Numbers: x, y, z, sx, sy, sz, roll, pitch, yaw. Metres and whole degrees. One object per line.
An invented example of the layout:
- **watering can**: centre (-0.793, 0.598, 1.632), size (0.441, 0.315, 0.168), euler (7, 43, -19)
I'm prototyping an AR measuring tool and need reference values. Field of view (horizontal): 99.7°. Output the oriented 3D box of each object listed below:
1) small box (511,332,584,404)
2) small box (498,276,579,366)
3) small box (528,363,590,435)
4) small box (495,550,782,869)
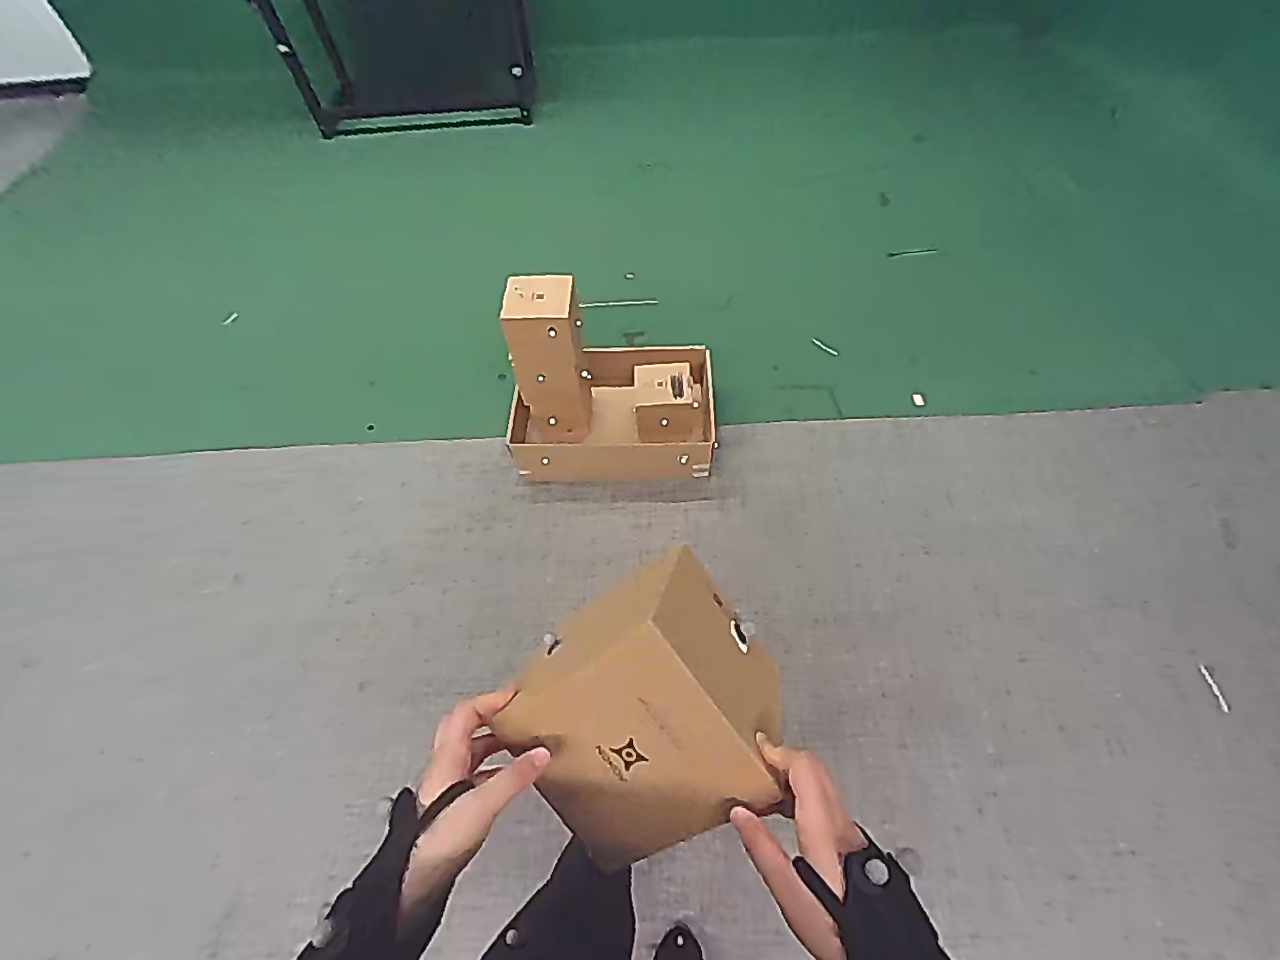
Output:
- **small box**: centre (-0.265, -0.335, 1.586), size (0.179, 0.176, 0.168), euler (0, 59, 1)
- **small box**: centre (-0.261, -0.421, 1.445), size (0.179, 0.176, 0.168), euler (-1, 58, 2)
- **small box**: centre (-0.253, -0.257, 1.730), size (0.168, 0.176, 0.179), euler (-1, 58, 2)
- **small box**: centre (0.011, 0.193, 0.495), size (0.179, 0.176, 0.168), euler (-37, 93, 17)
